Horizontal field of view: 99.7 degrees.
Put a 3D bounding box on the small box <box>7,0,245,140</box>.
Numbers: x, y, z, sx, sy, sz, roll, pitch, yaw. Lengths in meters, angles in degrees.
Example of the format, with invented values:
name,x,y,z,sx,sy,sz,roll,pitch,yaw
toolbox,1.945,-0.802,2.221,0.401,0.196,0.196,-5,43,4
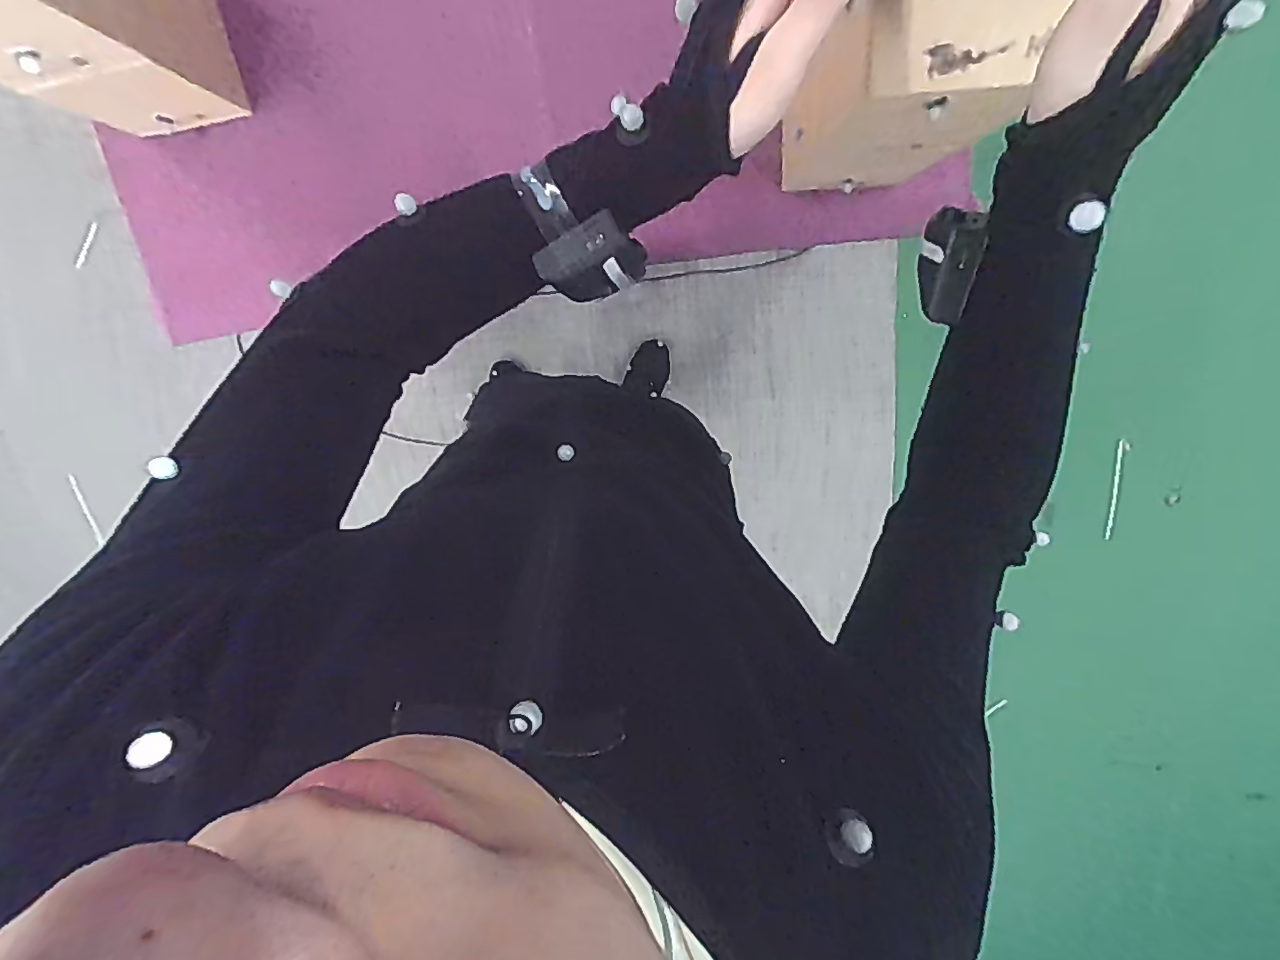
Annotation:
name,x,y,z,sx,sy,sz,roll,pitch,yaw
small box,-0.639,-0.551,0.659,0.168,0.176,0.179,-9,106,4

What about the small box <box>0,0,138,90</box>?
name,x,y,z,sx,sy,sz,roll,pitch,yaw
small box,-0.641,-0.508,0.502,0.168,0.176,0.179,-9,106,4
